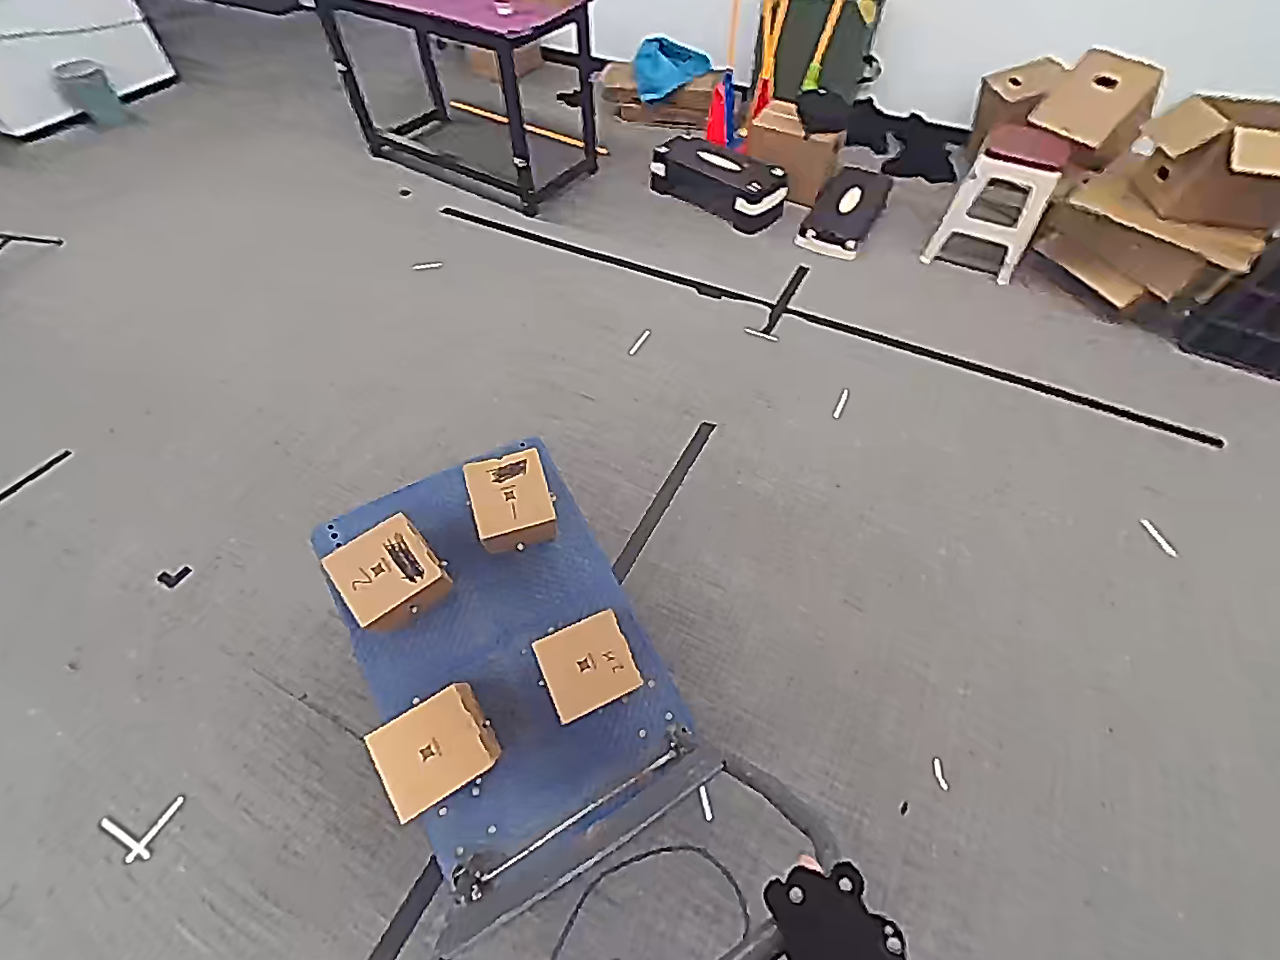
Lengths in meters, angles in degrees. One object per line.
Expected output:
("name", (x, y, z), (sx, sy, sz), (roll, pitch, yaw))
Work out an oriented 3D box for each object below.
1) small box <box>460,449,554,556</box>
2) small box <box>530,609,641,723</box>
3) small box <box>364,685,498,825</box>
("small box", (-0.300, 0.055, 1.235), (0.168, 0.176, 0.179), (-16, 74, -14))
("small box", (-0.117, 0.390, 1.137), (0.179, 0.176, 0.168), (-22, 75, -16))
("small box", (-0.392, 0.519, 1.045), (0.179, 0.176, 0.168), (-29, 77, -19))
